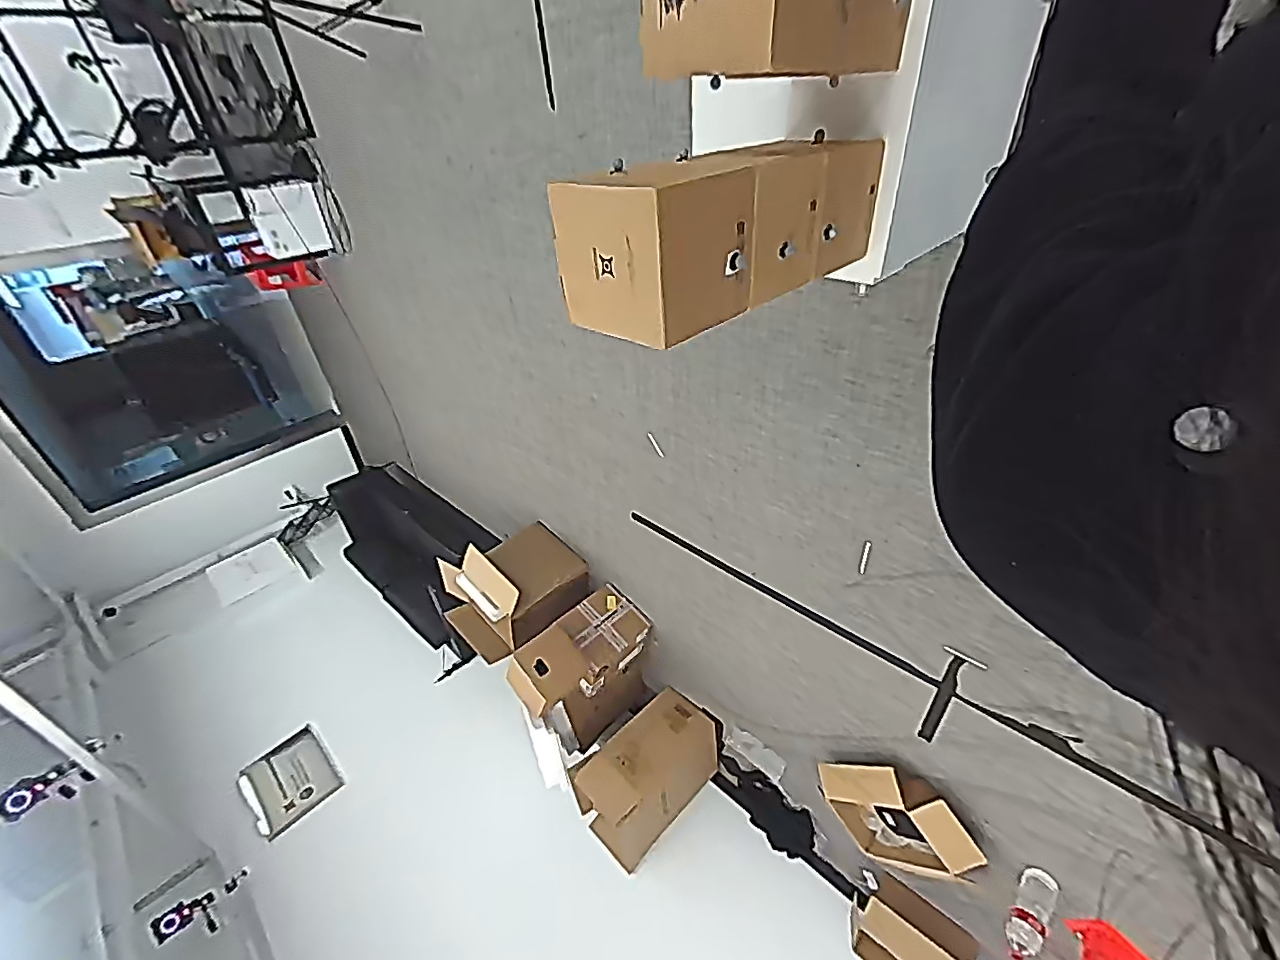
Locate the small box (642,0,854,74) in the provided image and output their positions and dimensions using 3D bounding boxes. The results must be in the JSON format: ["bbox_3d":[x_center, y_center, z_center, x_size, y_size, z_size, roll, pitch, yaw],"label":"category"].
[{"bbox_3d":[0.120,-0.548,0.589,0.179,0.176,0.168,28,137,34],"label":"small box"}]

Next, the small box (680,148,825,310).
[{"bbox_3d":[0.130,-0.350,0.740,0.179,0.176,0.168,27,136,37],"label":"small box"}]

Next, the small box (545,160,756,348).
[{"bbox_3d":[0.016,-0.279,0.650,0.179,0.176,0.168,26,136,37],"label":"small box"}]

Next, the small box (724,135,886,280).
[{"bbox_3d":[0.243,-0.424,0.832,0.179,0.176,0.168,29,138,37],"label":"small box"}]
